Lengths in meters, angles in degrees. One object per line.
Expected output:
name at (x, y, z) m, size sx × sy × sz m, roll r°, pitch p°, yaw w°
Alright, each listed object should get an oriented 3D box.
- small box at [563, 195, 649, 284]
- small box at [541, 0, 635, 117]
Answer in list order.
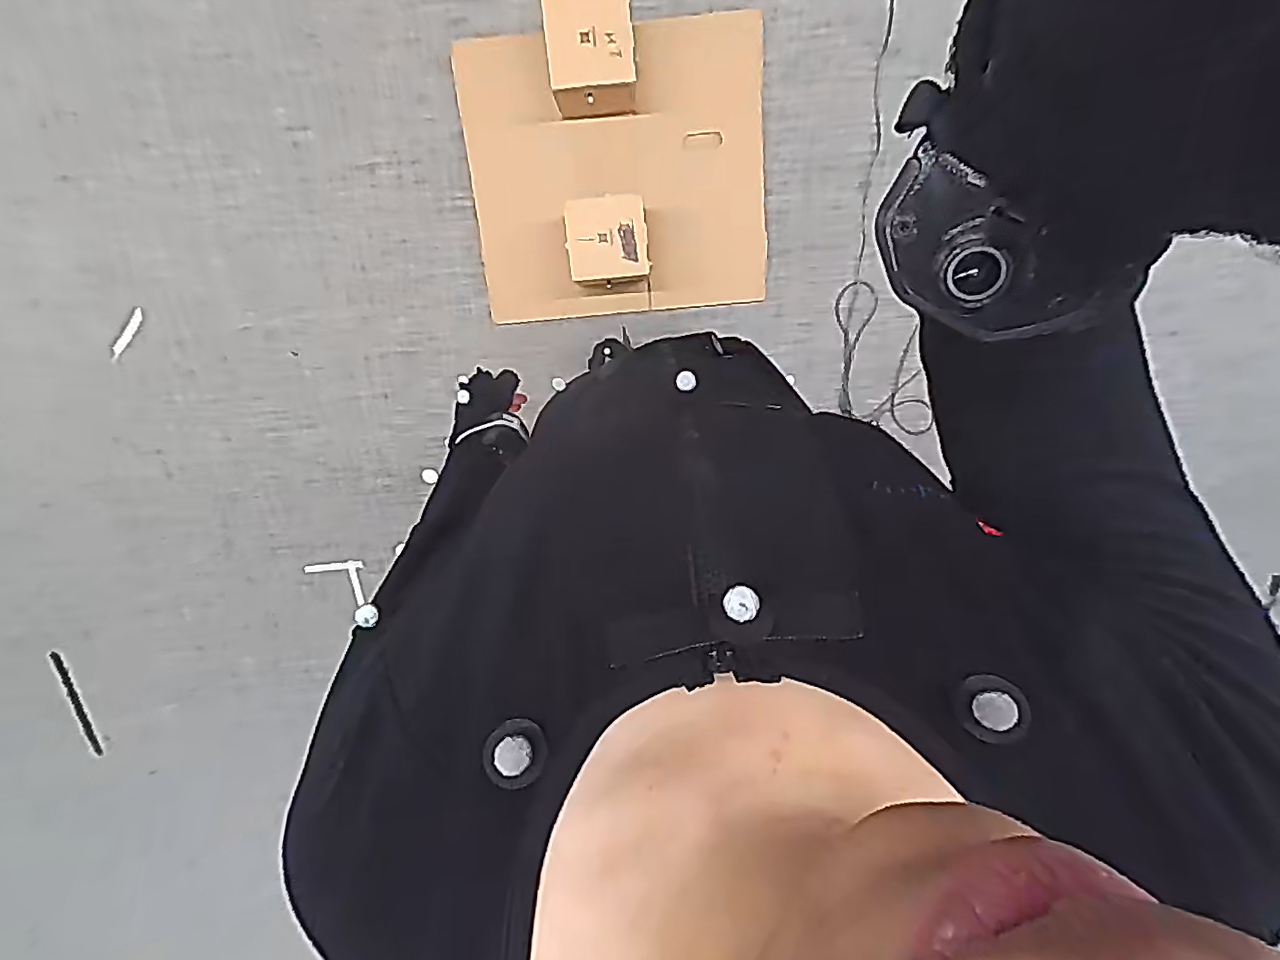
small box at (-0.074, -0.551, 1.257) m, size 0.179 × 0.176 × 0.168 m, roll -5°, pitch 107°, yaw 1°
small box at (-0.103, -0.897, 1.151) m, size 0.179 × 0.176 × 0.168 m, roll -5°, pitch 107°, yaw 0°
